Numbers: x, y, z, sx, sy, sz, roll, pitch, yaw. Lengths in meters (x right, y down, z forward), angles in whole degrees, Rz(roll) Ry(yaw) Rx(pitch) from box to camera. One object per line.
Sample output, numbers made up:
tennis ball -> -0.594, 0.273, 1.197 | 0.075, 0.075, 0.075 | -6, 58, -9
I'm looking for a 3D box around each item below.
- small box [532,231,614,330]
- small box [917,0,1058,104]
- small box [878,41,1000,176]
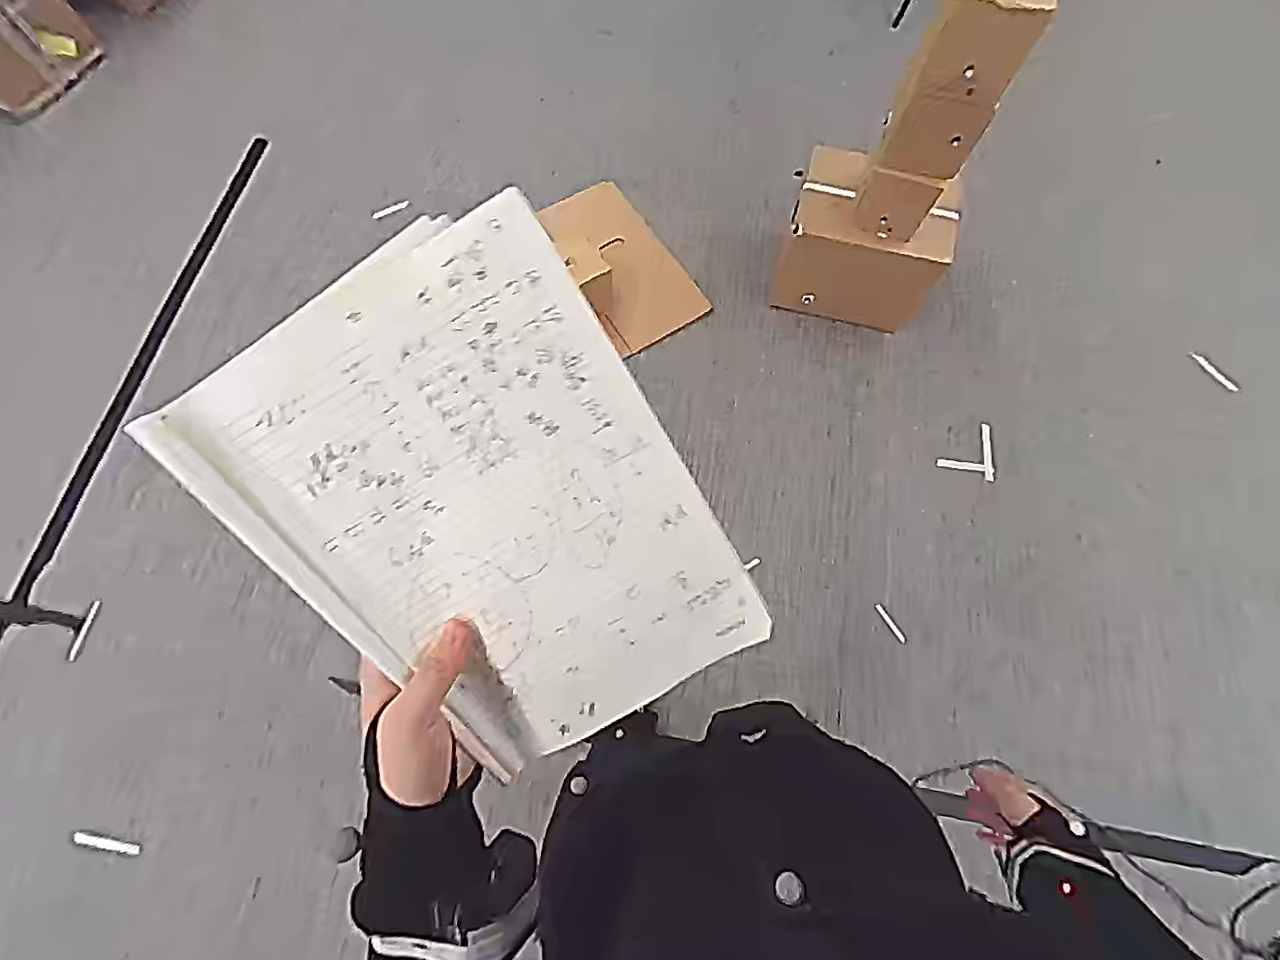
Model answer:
small box -> -0.193, -0.576, 1.571 | 0.179, 0.176, 0.168 | -33, 76, -13
small box -> 0.649, -0.865, 1.024 | 0.168, 0.176, 0.179 | 15, 71, 4
small box -> 0.645, -0.799, 1.175 | 0.179, 0.176, 0.168 | 12, 71, 4
